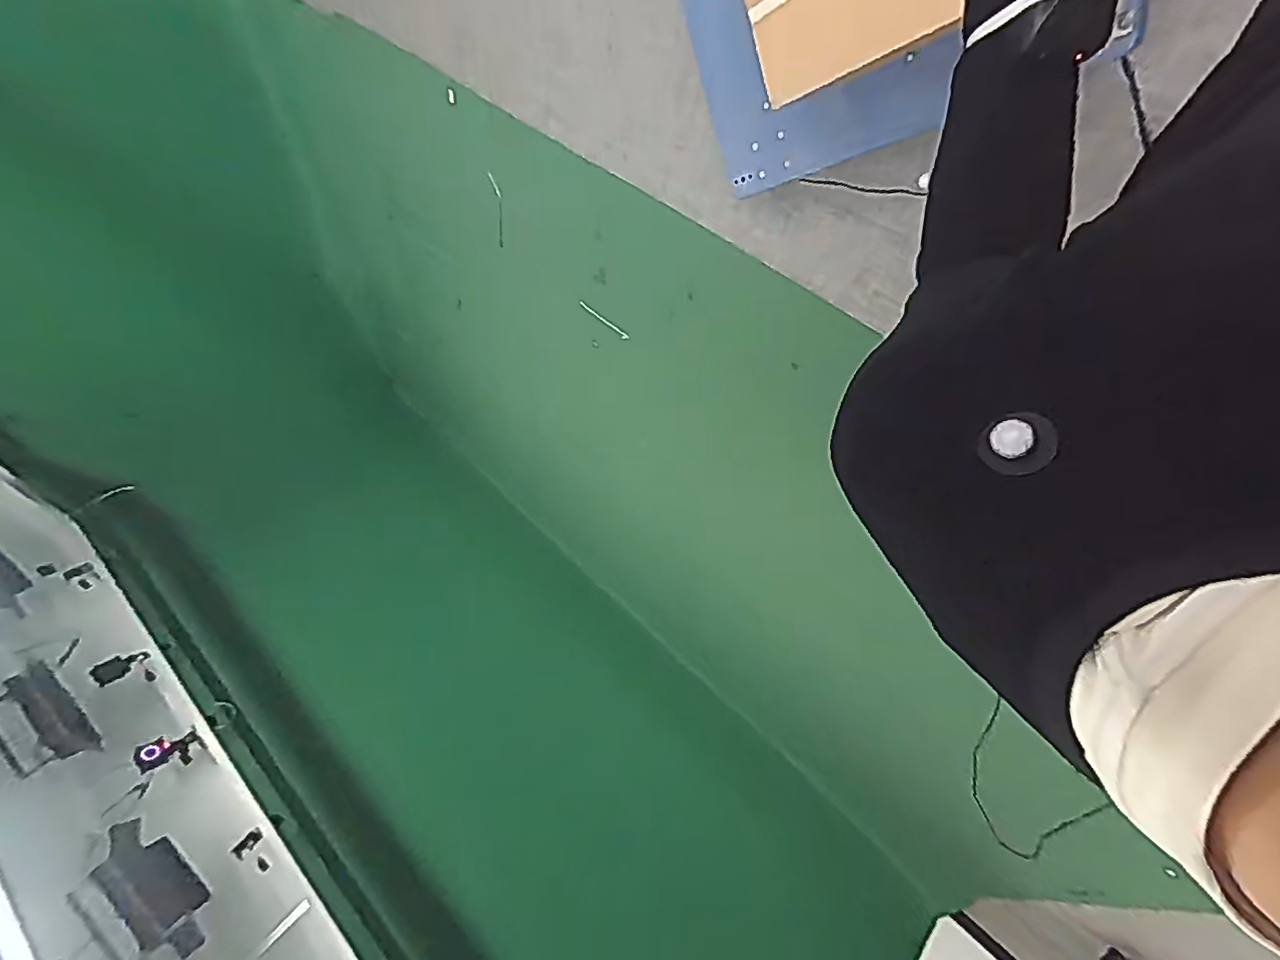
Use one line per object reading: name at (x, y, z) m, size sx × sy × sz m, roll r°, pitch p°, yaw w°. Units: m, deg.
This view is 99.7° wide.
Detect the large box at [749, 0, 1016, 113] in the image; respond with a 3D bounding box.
large box at (0.443, -0.919, 0.933) m, size 0.408 × 0.320 × 0.320 m, roll 9°, pitch 129°, yaw 50°
